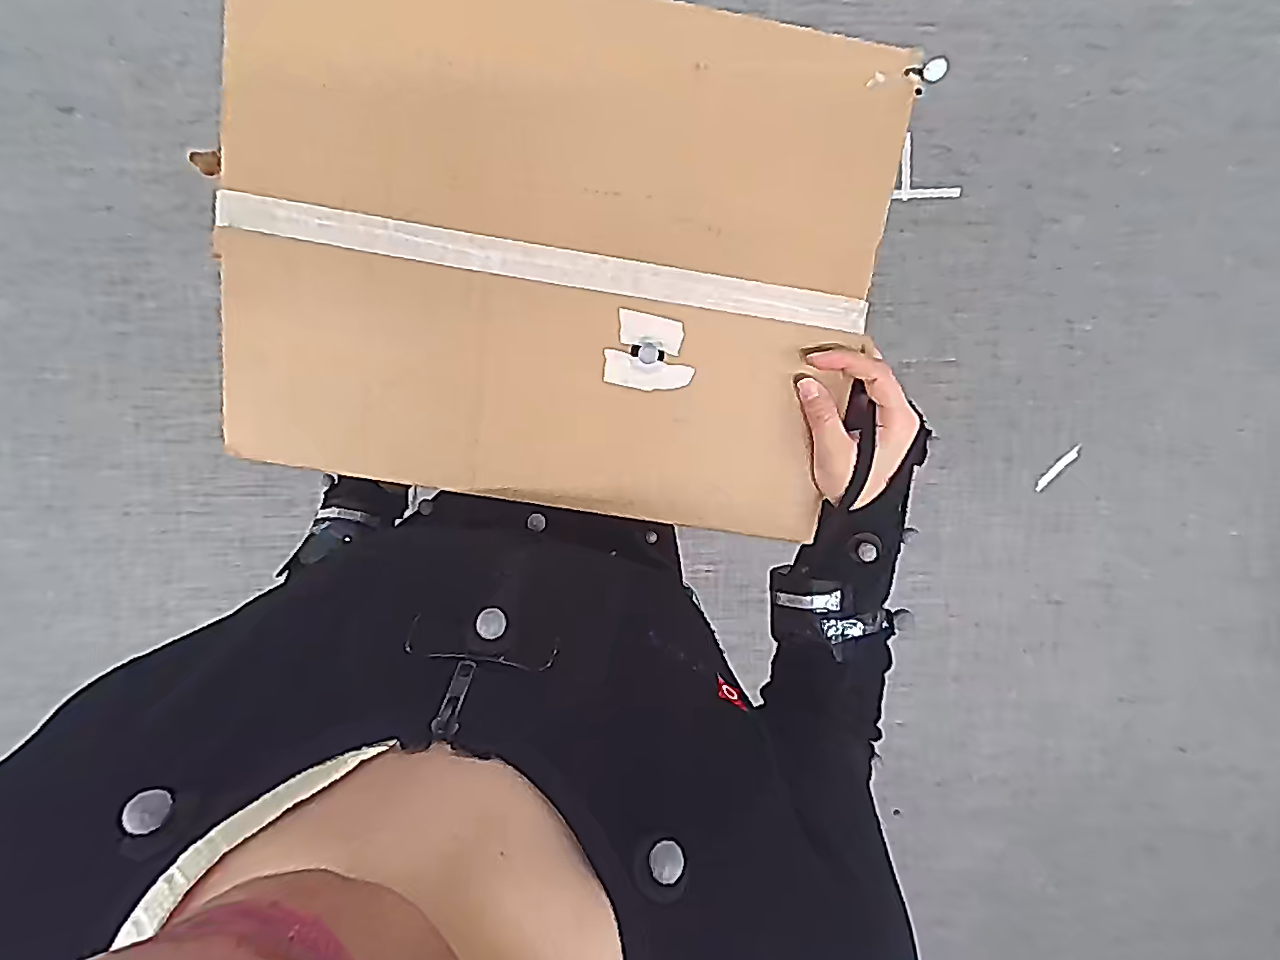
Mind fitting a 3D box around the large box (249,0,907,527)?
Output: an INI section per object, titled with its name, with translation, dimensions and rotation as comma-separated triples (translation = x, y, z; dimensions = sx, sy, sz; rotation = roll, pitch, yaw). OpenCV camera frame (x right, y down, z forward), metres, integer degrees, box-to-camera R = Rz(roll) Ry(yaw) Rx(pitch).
[large box]
translation = -0.055, -0.166, 0.498
dimensions = 0.408, 0.320, 0.320
rotation = 8, 102, -4
